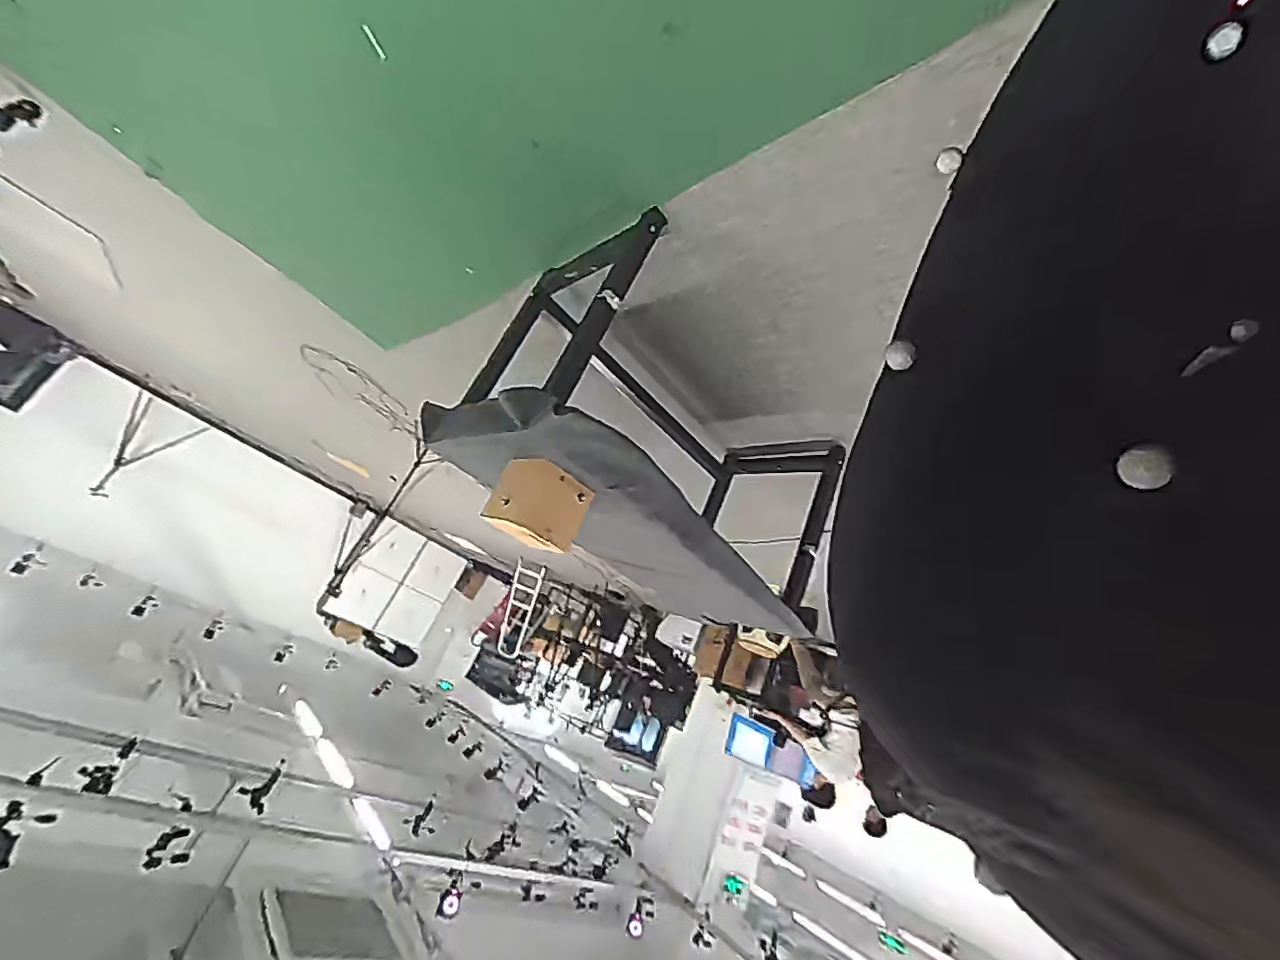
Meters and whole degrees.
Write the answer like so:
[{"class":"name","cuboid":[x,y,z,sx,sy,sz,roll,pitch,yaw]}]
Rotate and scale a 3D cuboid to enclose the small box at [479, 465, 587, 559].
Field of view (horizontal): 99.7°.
[{"class":"small box","cuboid":[-0.252,0.074,1.316,0.179,0.176,0.168,2,149,49]}]
